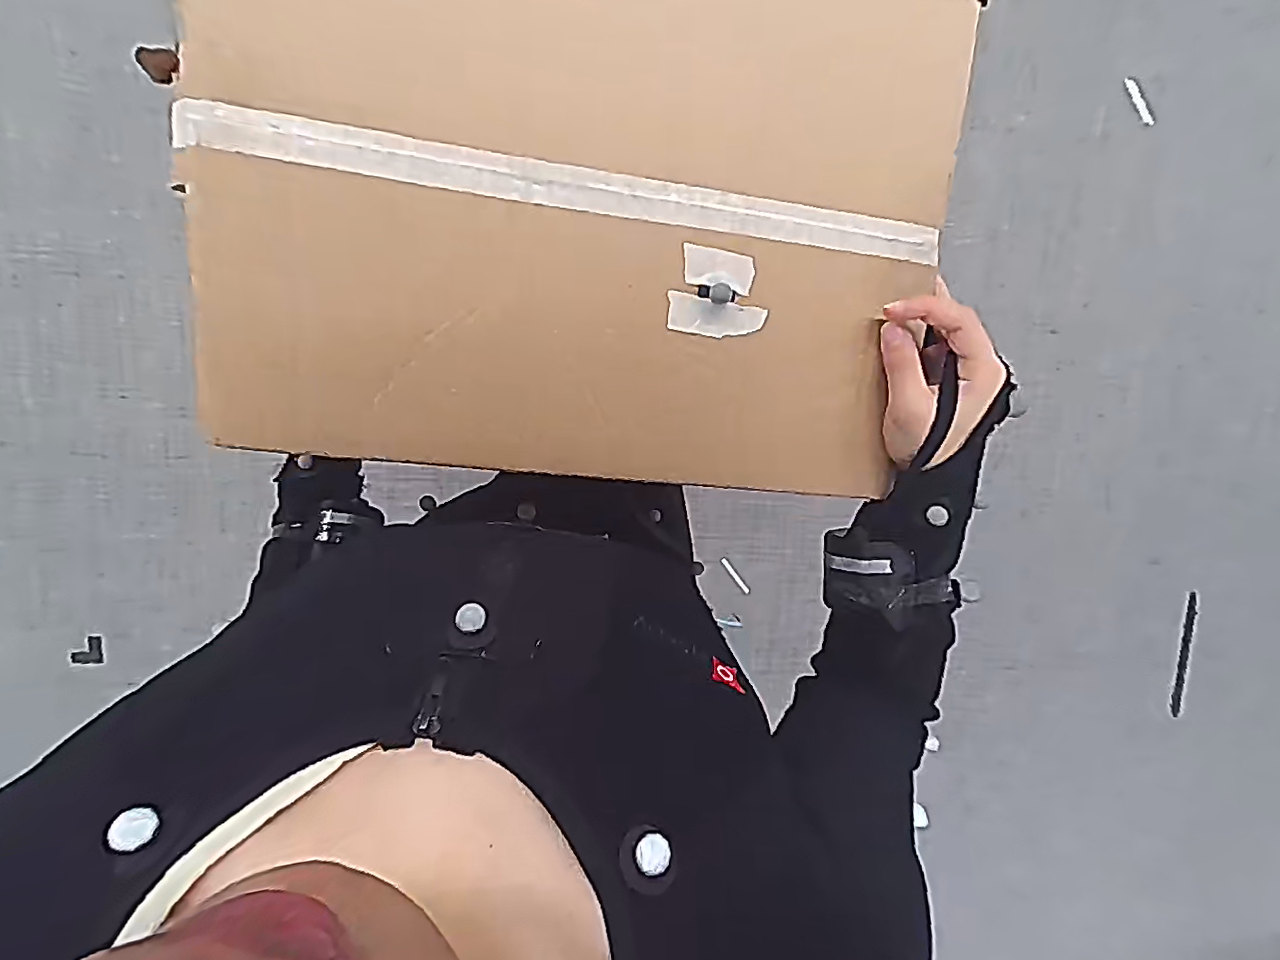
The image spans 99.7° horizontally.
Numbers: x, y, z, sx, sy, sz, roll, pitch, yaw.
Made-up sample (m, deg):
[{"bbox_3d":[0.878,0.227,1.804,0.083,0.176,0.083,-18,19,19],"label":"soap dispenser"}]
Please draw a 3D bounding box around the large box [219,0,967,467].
[{"bbox_3d":[-0.041,-0.196,0.446,0.408,0.320,0.320,4,101,-12],"label":"large box"}]
